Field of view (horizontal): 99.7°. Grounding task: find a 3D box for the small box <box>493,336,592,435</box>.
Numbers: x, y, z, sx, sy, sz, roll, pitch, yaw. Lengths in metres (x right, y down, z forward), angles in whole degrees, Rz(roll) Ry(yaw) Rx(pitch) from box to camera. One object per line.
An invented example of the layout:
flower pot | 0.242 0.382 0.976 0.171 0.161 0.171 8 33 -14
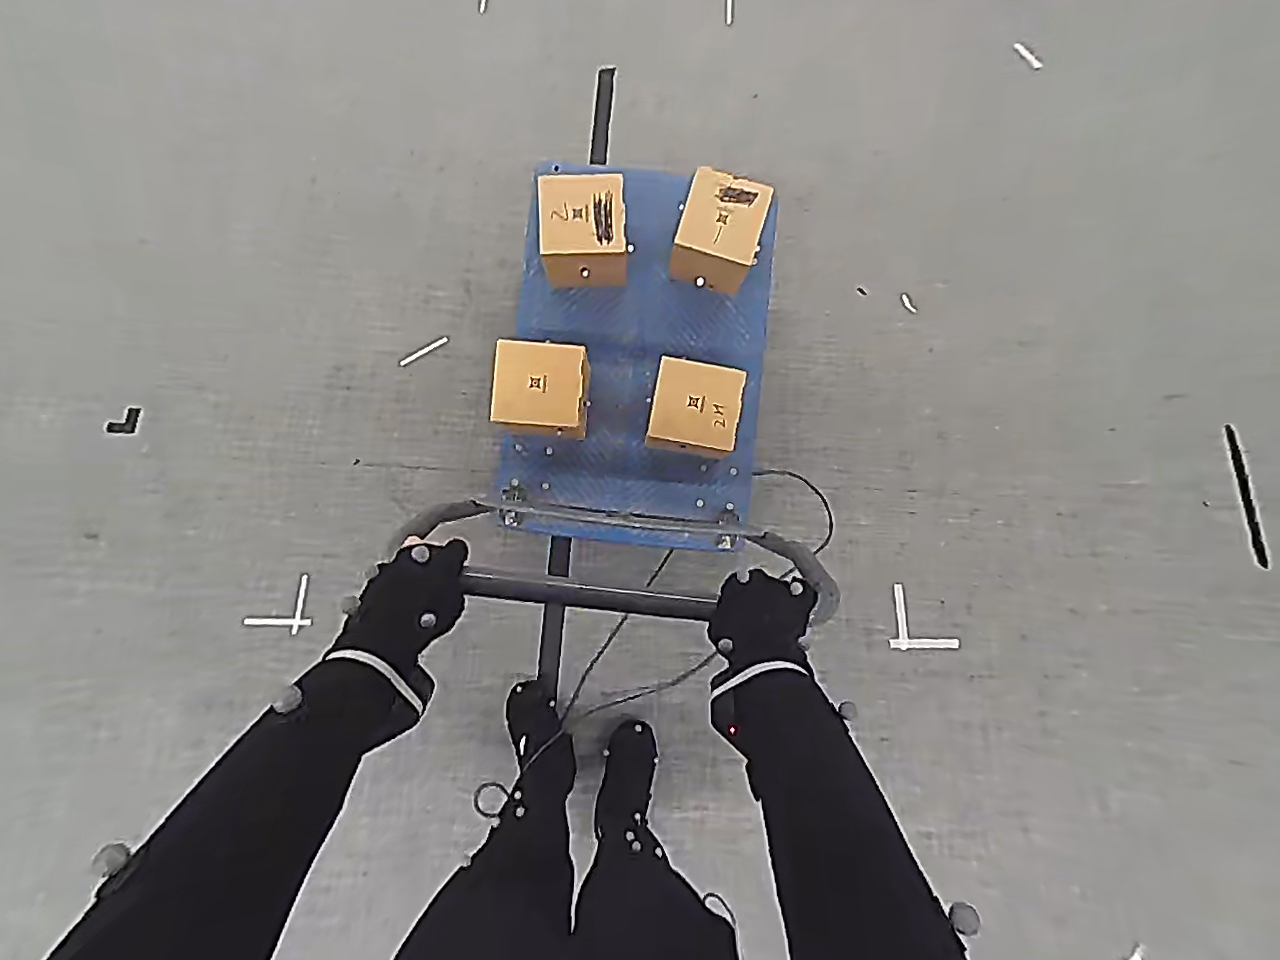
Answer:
small box | -0.199 -0.191 1.143 0.179 0.176 0.168 4 86 -3

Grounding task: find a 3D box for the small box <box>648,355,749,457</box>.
small box | 0.116 -0.149 1.148 0.179 0.176 0.168 11 87 -1

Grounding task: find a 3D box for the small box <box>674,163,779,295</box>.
small box | 0.178 -0.534 1.173 0.168 0.176 0.179 18 87 0
